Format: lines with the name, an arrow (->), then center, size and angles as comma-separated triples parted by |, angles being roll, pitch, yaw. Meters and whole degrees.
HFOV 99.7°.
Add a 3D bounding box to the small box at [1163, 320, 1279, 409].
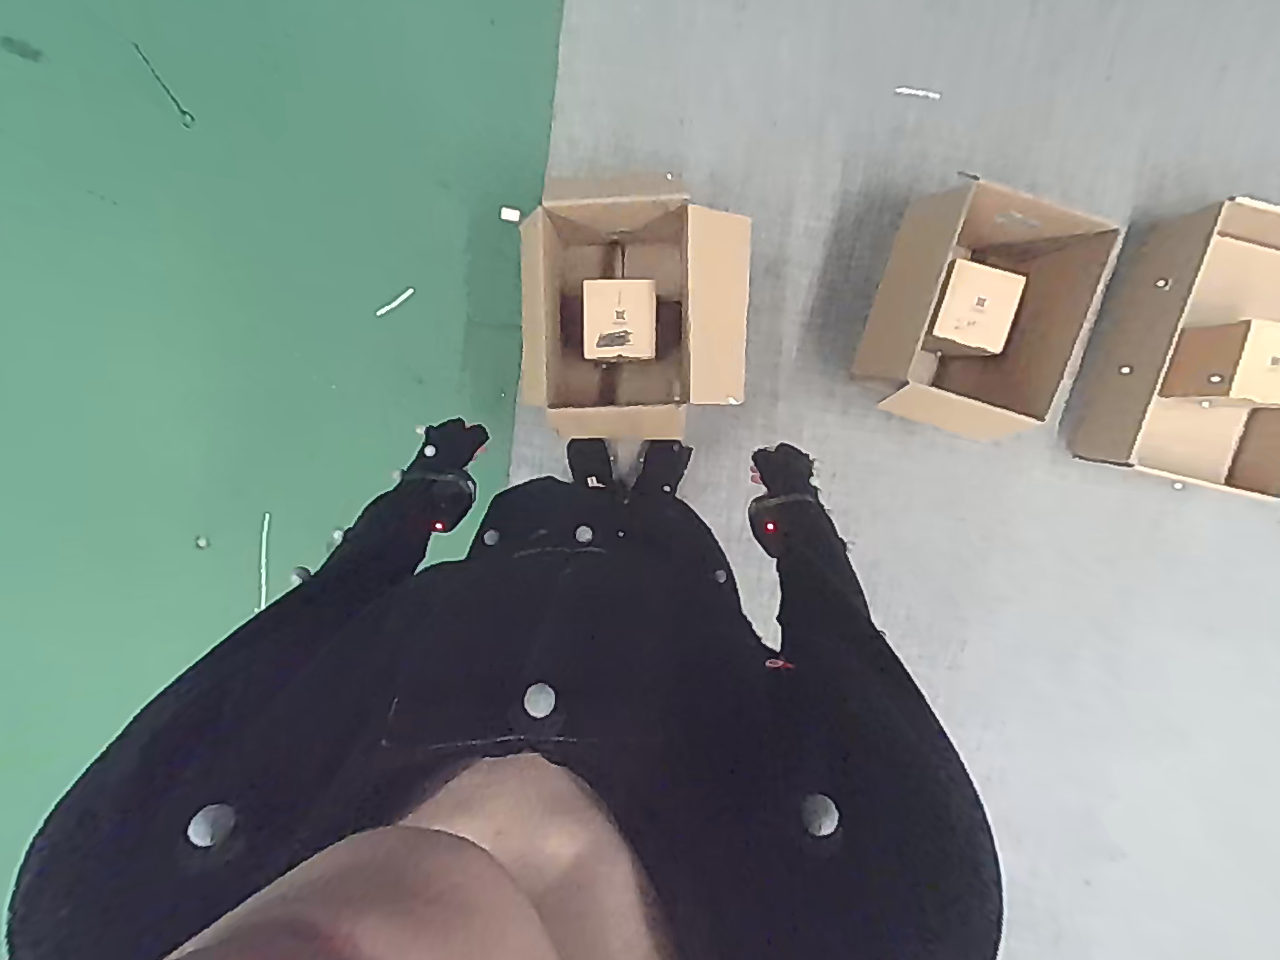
small box -> 1.409, -0.268, 1.280 | 0.168, 0.176, 0.179 | 8, 99, -1
